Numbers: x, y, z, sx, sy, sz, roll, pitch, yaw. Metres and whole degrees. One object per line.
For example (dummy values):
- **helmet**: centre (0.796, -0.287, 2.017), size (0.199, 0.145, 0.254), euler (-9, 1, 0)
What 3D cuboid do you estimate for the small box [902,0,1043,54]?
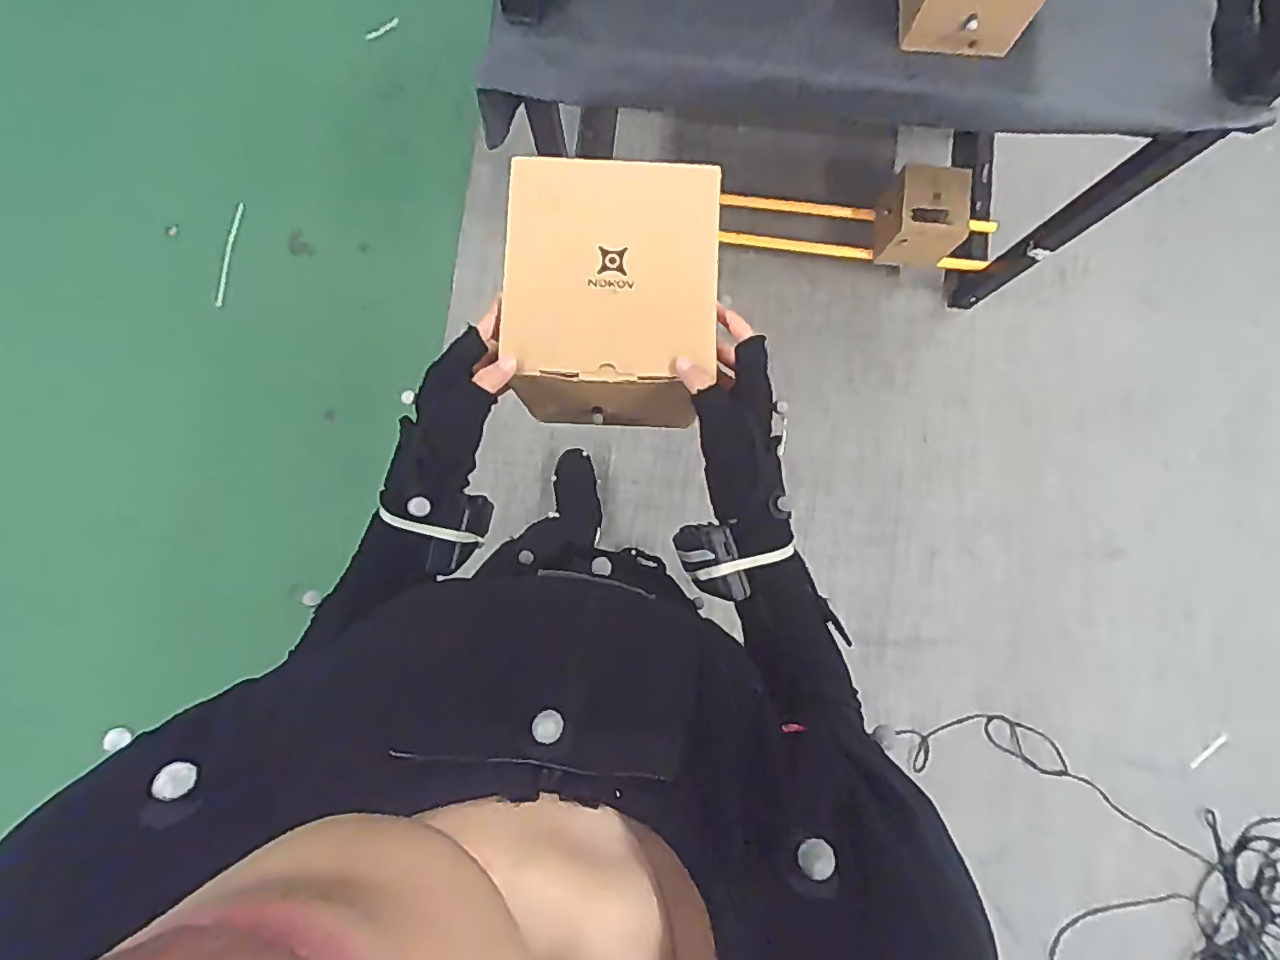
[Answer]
- **small box**: centre (0.495, -0.765, 0.773), size (0.168, 0.176, 0.179), euler (4, 83, 1)
